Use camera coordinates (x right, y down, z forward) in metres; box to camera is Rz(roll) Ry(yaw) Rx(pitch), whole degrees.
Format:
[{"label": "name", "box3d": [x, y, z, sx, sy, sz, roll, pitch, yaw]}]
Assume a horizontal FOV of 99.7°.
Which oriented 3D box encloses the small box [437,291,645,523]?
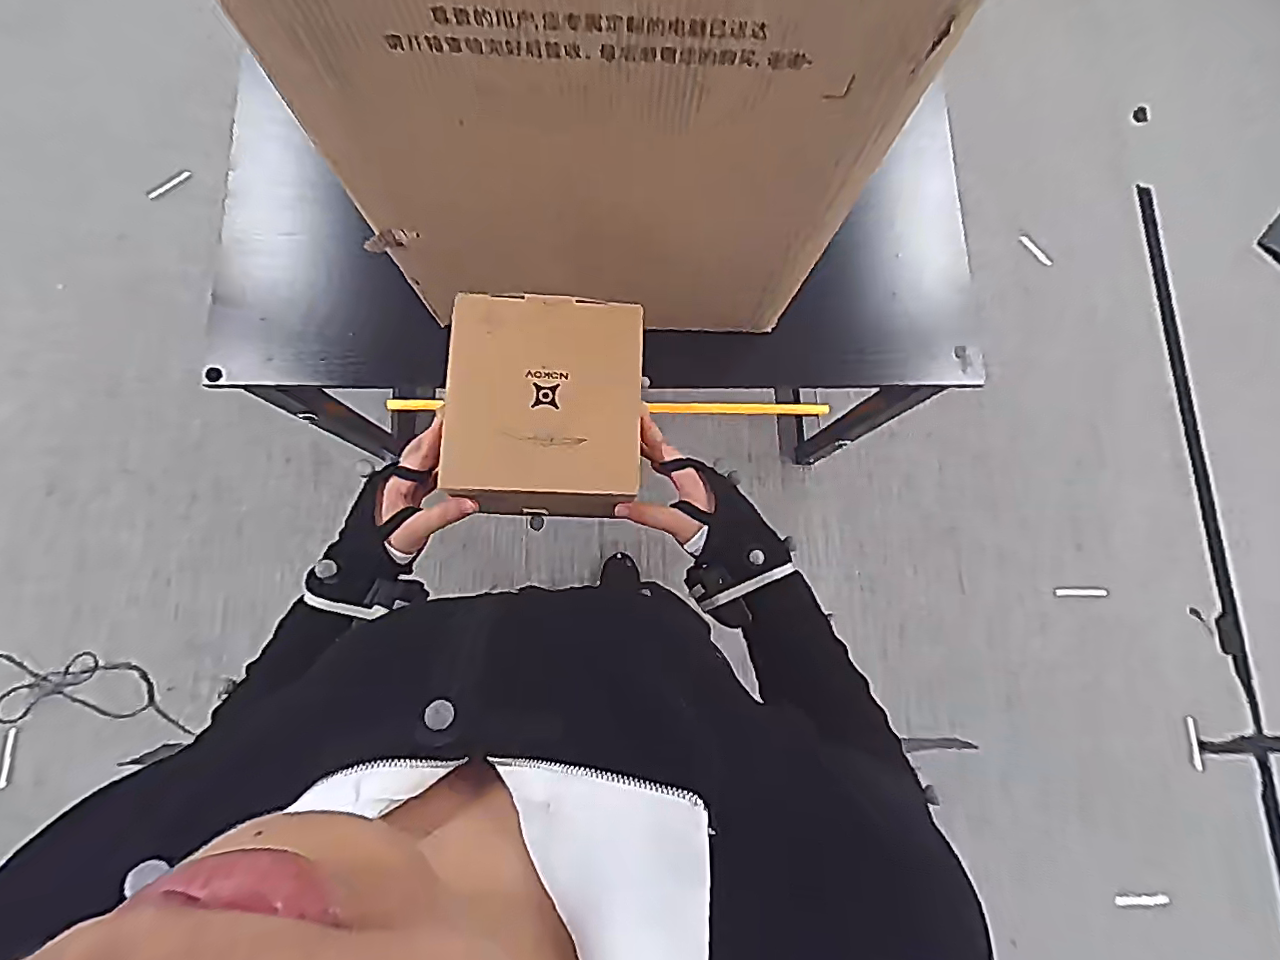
[{"label": "small box", "box3d": [-0.088, -0.058, 0.532, 0.168, 0.176, 0.179, 2, 78, -6]}]
